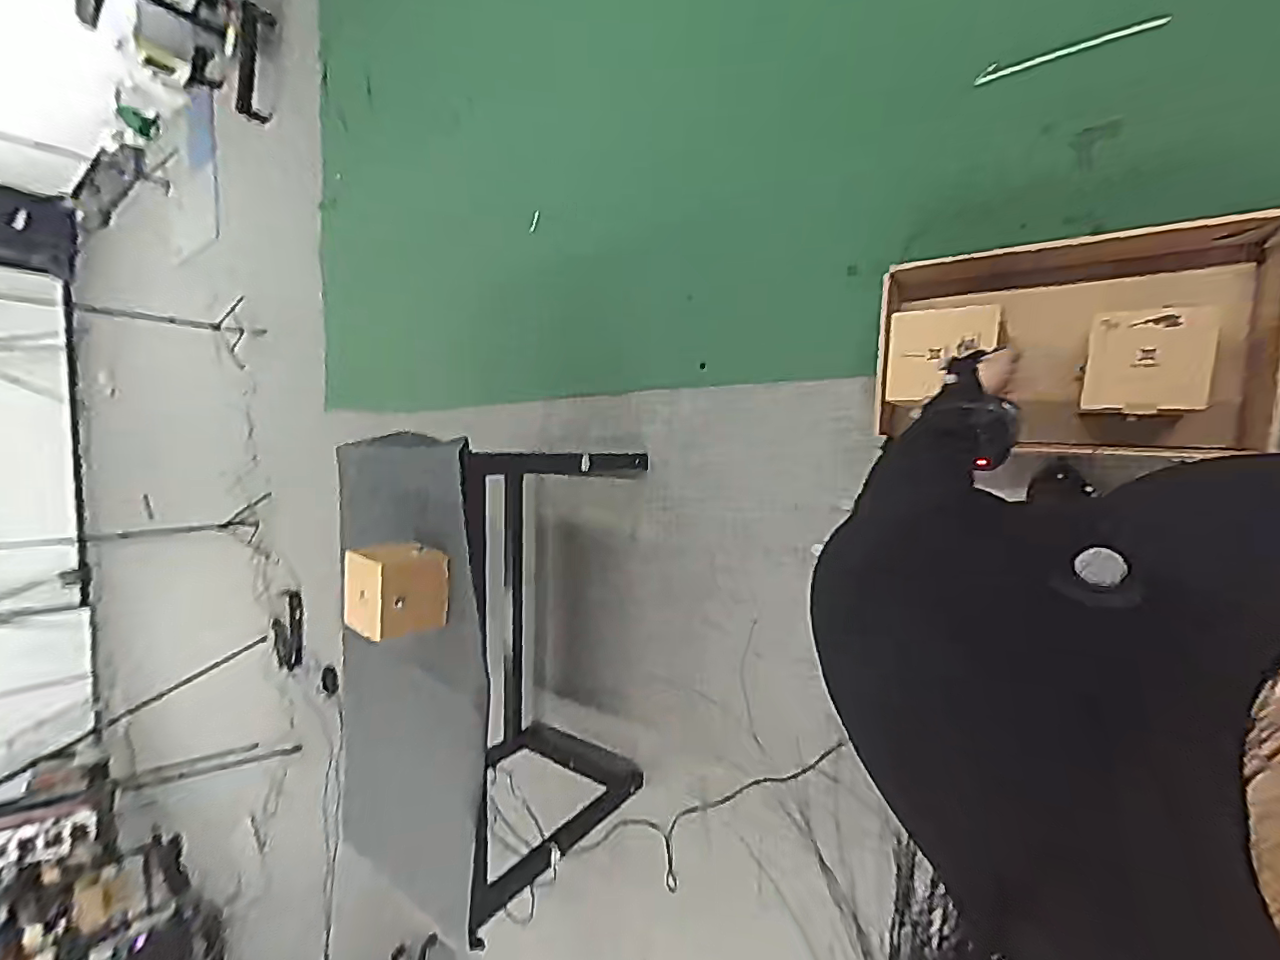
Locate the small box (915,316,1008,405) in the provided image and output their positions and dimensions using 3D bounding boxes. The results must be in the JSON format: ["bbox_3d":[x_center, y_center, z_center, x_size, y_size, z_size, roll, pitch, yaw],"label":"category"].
[{"bbox_3d":[0.678,-0.247,1.160,0.179,0.176,0.168,4,96,34],"label":"small box"}]

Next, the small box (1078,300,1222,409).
[{"bbox_3d":[0.920,-0.221,0.991,0.168,0.176,0.179,6,98,36],"label":"small box"}]

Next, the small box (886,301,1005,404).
[{"bbox_3d":[0.583,-0.234,1.027,0.179,0.176,0.168,6,96,35],"label":"small box"}]

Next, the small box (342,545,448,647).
[{"bbox_3d":[-0.565,0.259,1.253,0.168,0.176,0.179,7,96,36],"label":"small box"}]
